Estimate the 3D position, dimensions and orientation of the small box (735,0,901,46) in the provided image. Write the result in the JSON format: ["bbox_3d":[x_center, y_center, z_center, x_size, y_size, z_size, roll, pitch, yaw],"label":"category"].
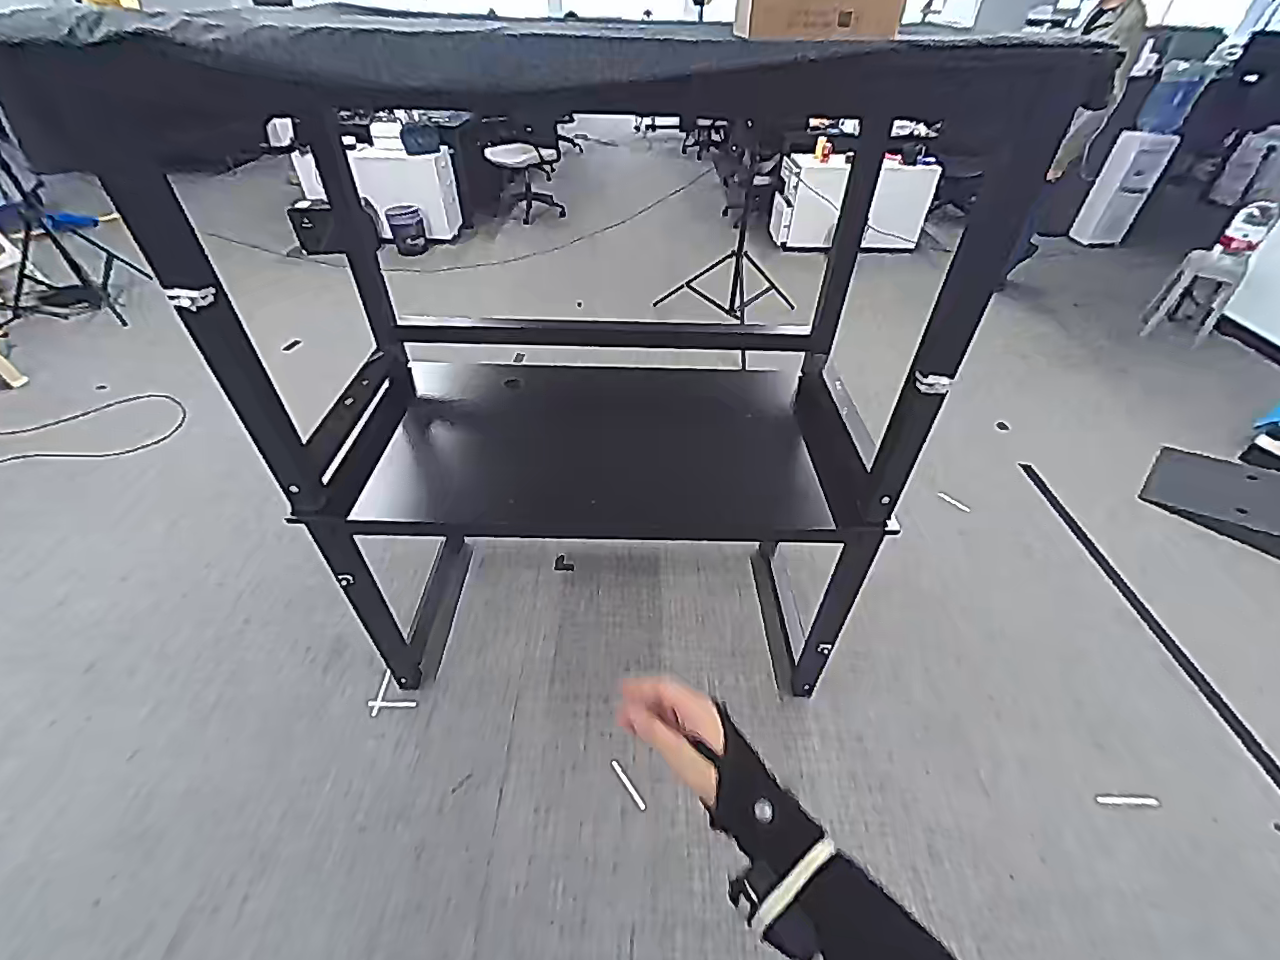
[{"bbox_3d":[0.205,-0.610,0.618,0.168,0.176,0.179,1,41,1],"label":"small box"}]
